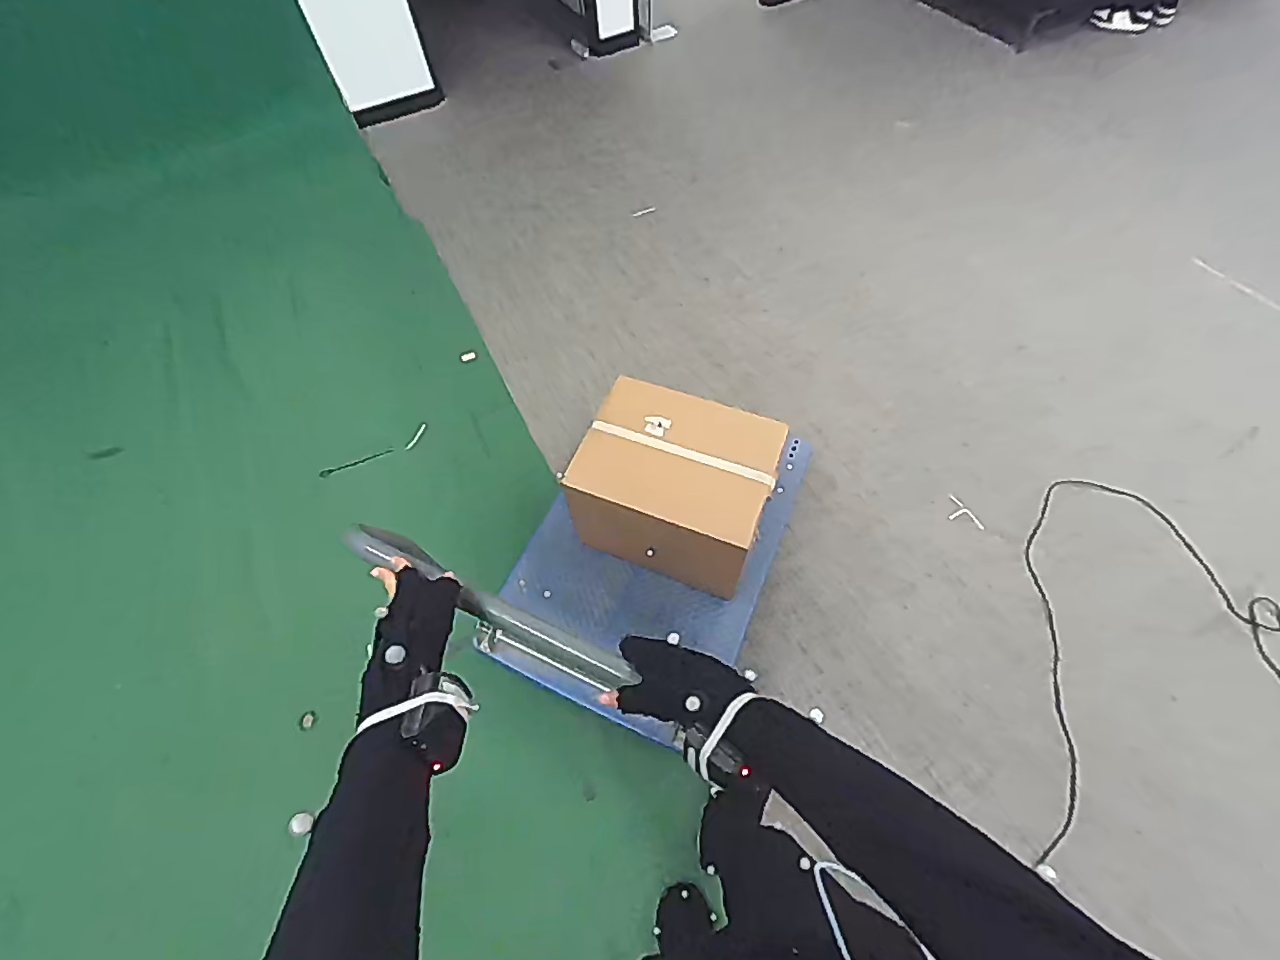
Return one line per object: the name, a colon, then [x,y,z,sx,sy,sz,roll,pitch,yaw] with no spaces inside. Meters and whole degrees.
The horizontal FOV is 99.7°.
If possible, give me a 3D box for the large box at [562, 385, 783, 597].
large box: [0.085,0.032,1.277,0.408,0.320,0.320,18,61,14]
